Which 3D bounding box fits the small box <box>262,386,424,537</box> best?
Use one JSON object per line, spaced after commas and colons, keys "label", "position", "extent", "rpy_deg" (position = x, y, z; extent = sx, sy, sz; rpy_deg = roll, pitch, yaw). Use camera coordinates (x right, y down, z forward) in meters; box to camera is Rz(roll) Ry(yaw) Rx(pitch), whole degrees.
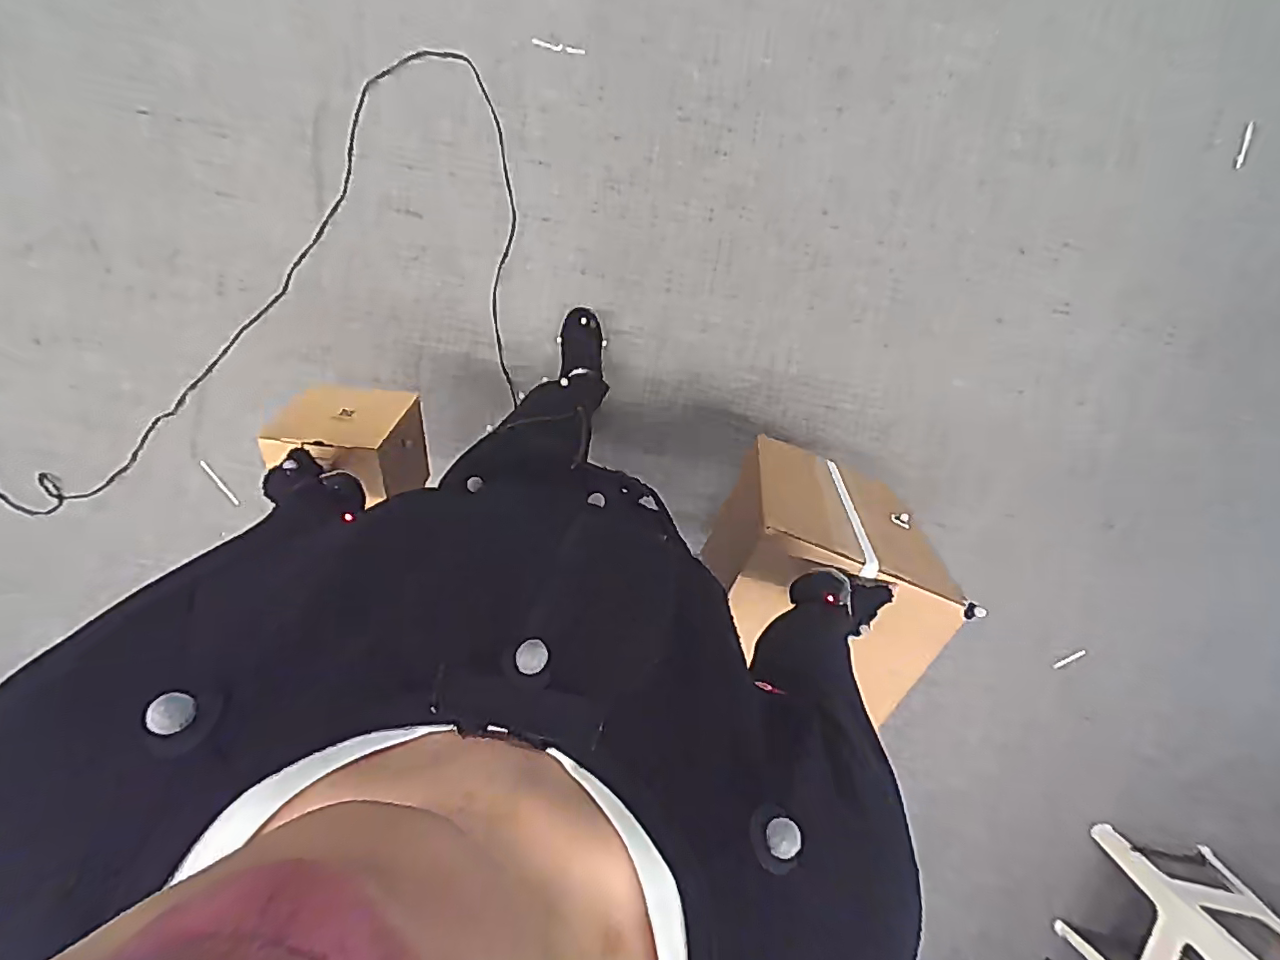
{"label": "small box", "position": [-0.460, -0.032, 0.873], "extent": [0.168, 0.179, 0.176], "rpy_deg": [5, 125, -4]}
